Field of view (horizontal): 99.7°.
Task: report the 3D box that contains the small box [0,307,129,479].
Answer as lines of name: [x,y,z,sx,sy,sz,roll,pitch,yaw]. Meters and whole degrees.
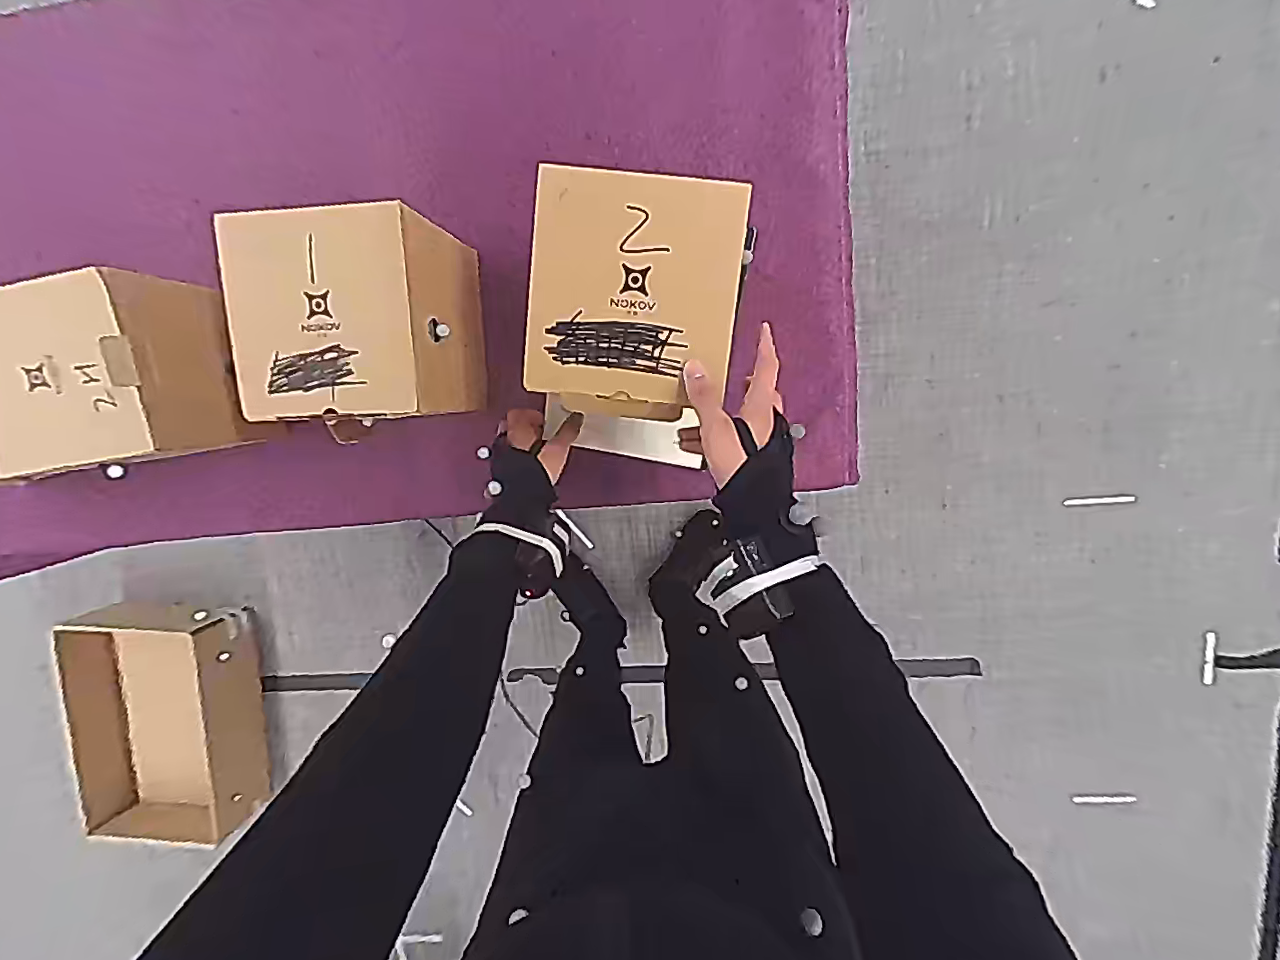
small box: [-0.730,-0.089,0.593,0.168,0.176,0.179,-12,98,6]

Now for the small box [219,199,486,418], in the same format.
small box: [-0.264,-0.156,0.539,0.168,0.176,0.179,-1,98,5]
